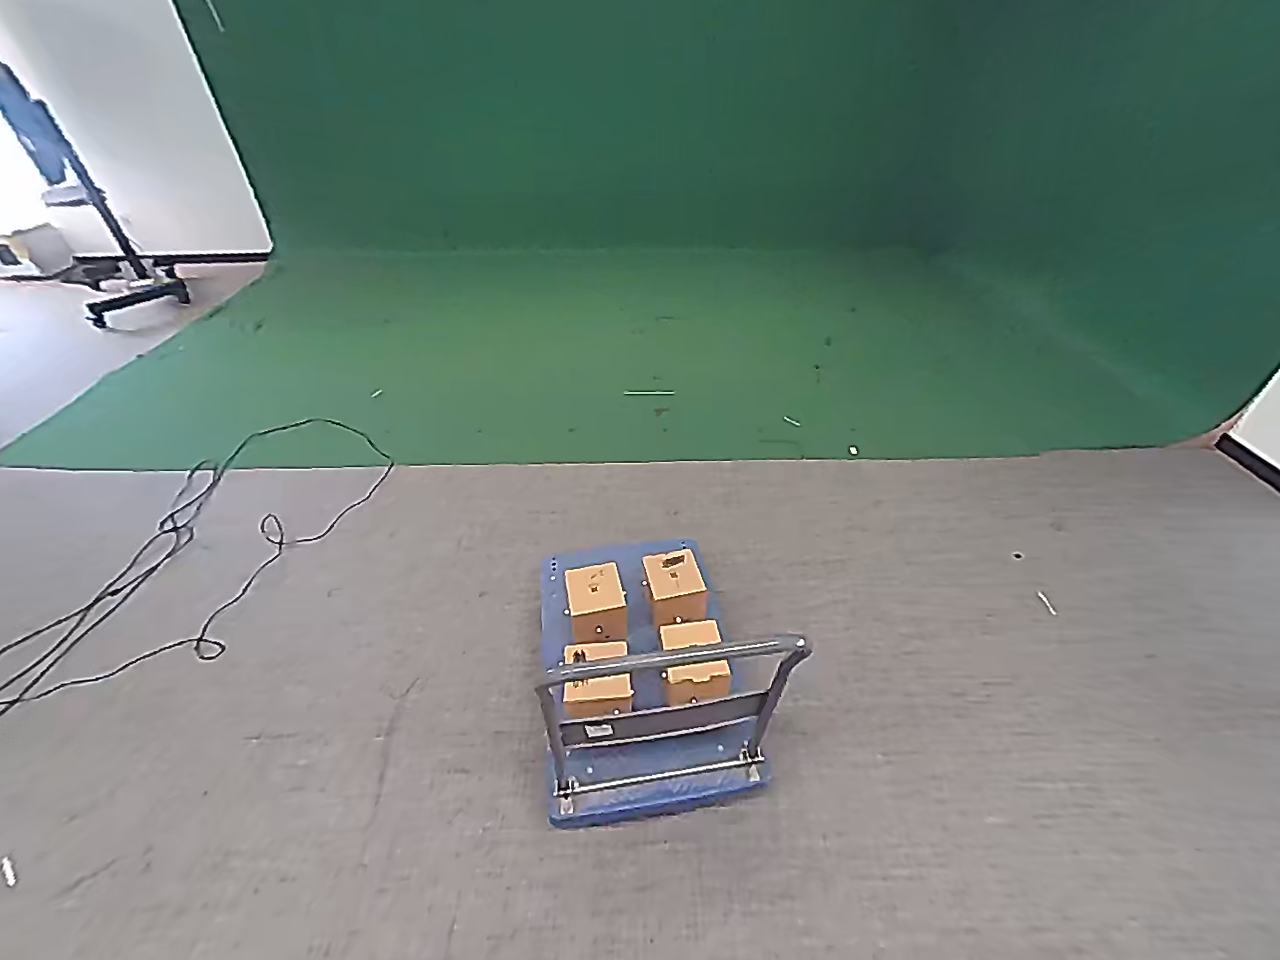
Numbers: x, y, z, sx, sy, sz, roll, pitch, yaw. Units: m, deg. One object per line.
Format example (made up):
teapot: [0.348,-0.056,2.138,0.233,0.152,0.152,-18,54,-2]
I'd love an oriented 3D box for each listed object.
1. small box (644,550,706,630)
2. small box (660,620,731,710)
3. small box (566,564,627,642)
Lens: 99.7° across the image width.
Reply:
small box: [0.108,0.358,1.760,0.168,0.176,0.179,-9,42,-9]
small box: [0.152,0.533,1.558,0.168,0.176,0.179,-6,41,-6]
small box: [-0.137,0.397,1.718,0.168,0.176,0.179,-8,41,-10]
